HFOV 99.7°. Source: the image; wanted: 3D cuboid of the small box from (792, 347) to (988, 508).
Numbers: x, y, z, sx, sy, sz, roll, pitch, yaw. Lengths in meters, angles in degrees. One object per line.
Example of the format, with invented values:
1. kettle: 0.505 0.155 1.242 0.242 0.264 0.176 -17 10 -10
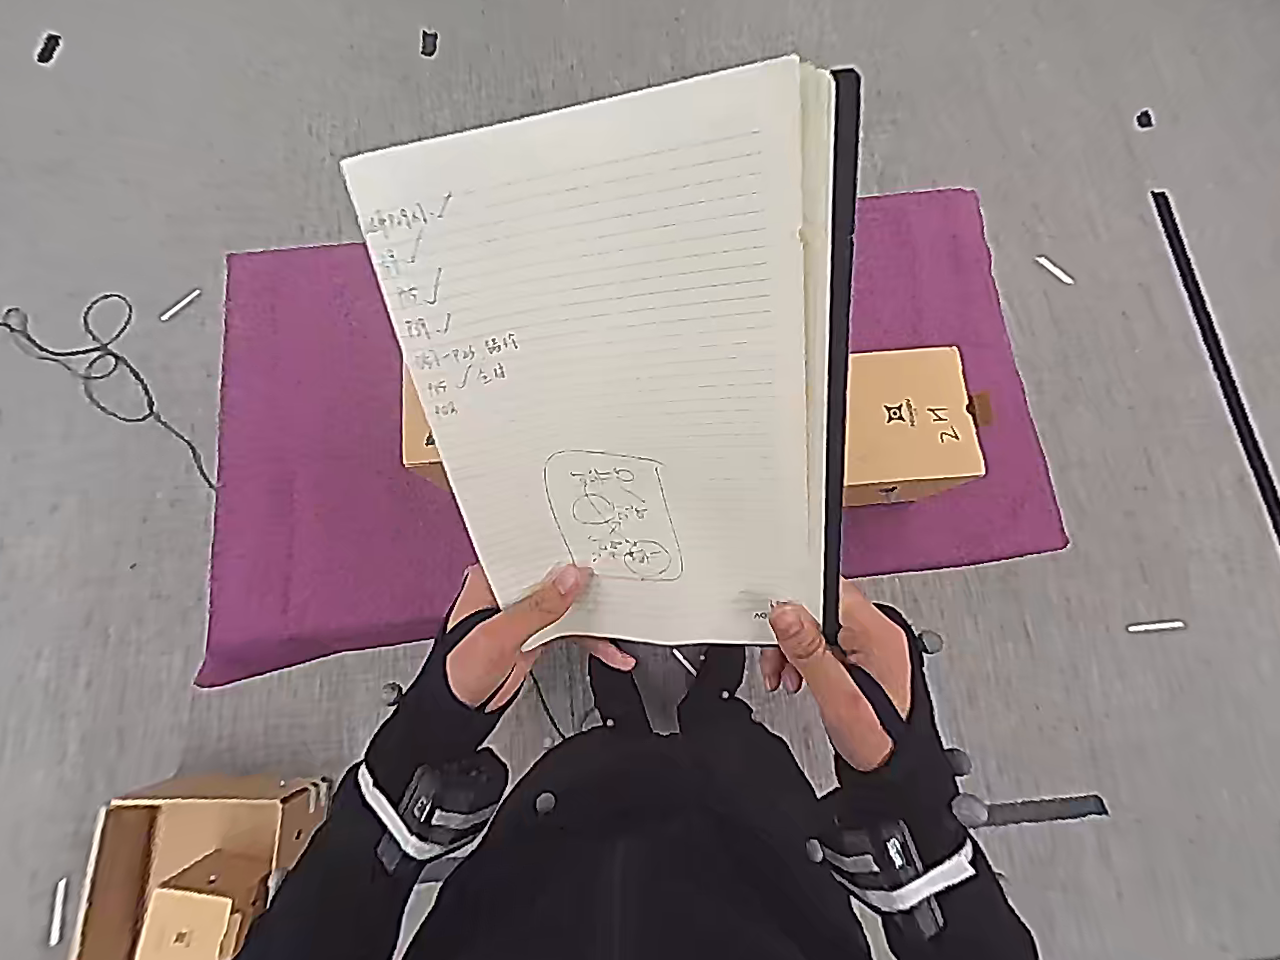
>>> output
1. small box: 0.311 -0.060 0.718 0.179 0.176 0.168 -4 78 -1

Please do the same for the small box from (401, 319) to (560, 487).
1. small box: -0.201 -0.091 0.722 0.168 0.176 0.179 -5 77 -2

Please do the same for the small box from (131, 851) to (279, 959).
1. small box: -0.939 0.948 1.183 0.179 0.176 0.168 8 78 1
